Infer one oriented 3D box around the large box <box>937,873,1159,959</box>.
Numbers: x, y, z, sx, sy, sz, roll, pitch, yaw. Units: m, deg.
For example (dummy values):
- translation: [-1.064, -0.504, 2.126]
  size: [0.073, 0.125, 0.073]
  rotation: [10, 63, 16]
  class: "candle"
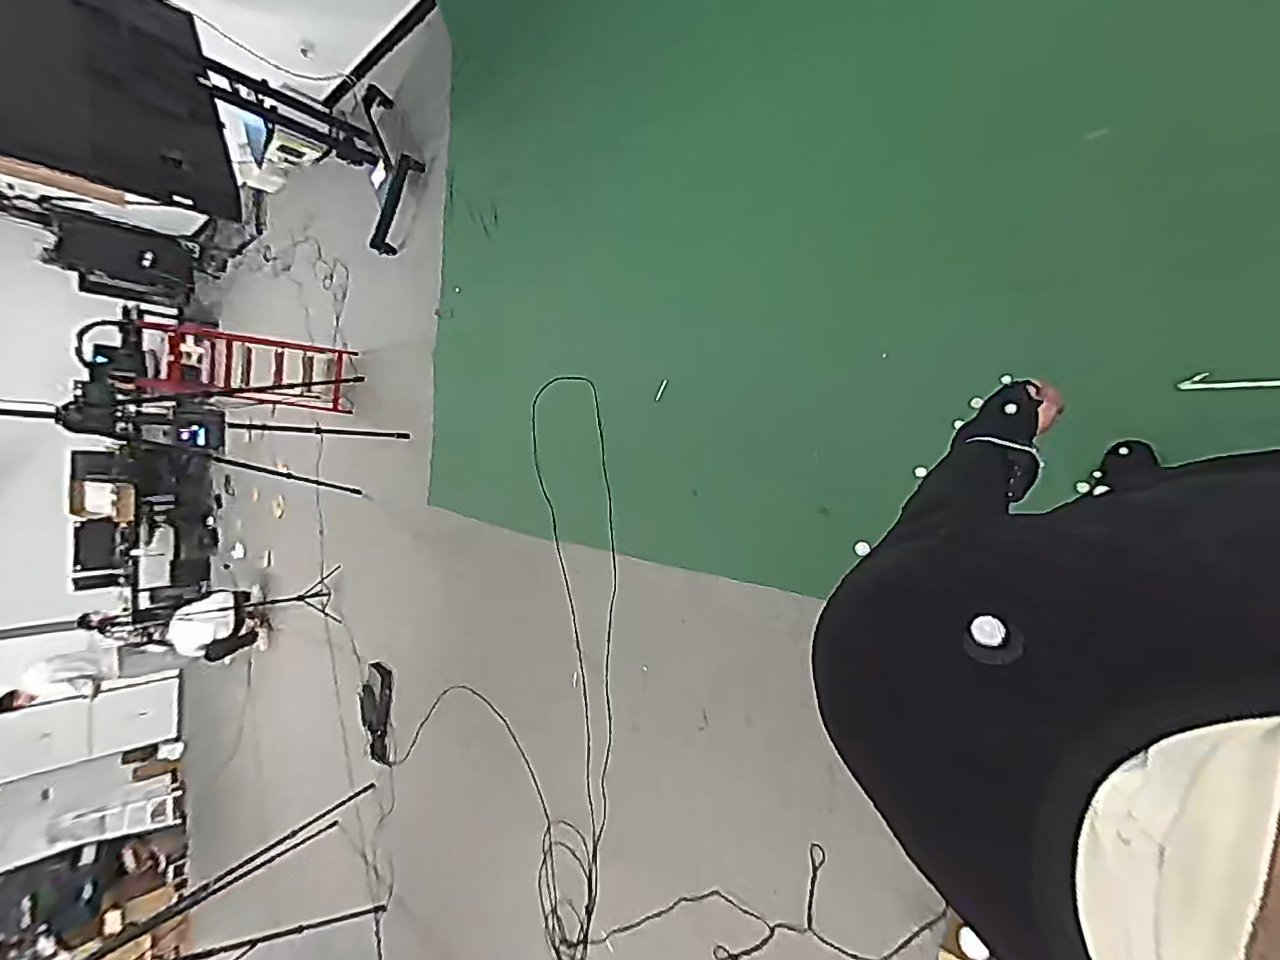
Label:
- translation: [0.913, 1.203, 1.213]
  size: [0.408, 0.320, 0.320]
  rotation: [5, 93, 40]
  class: "large box"
